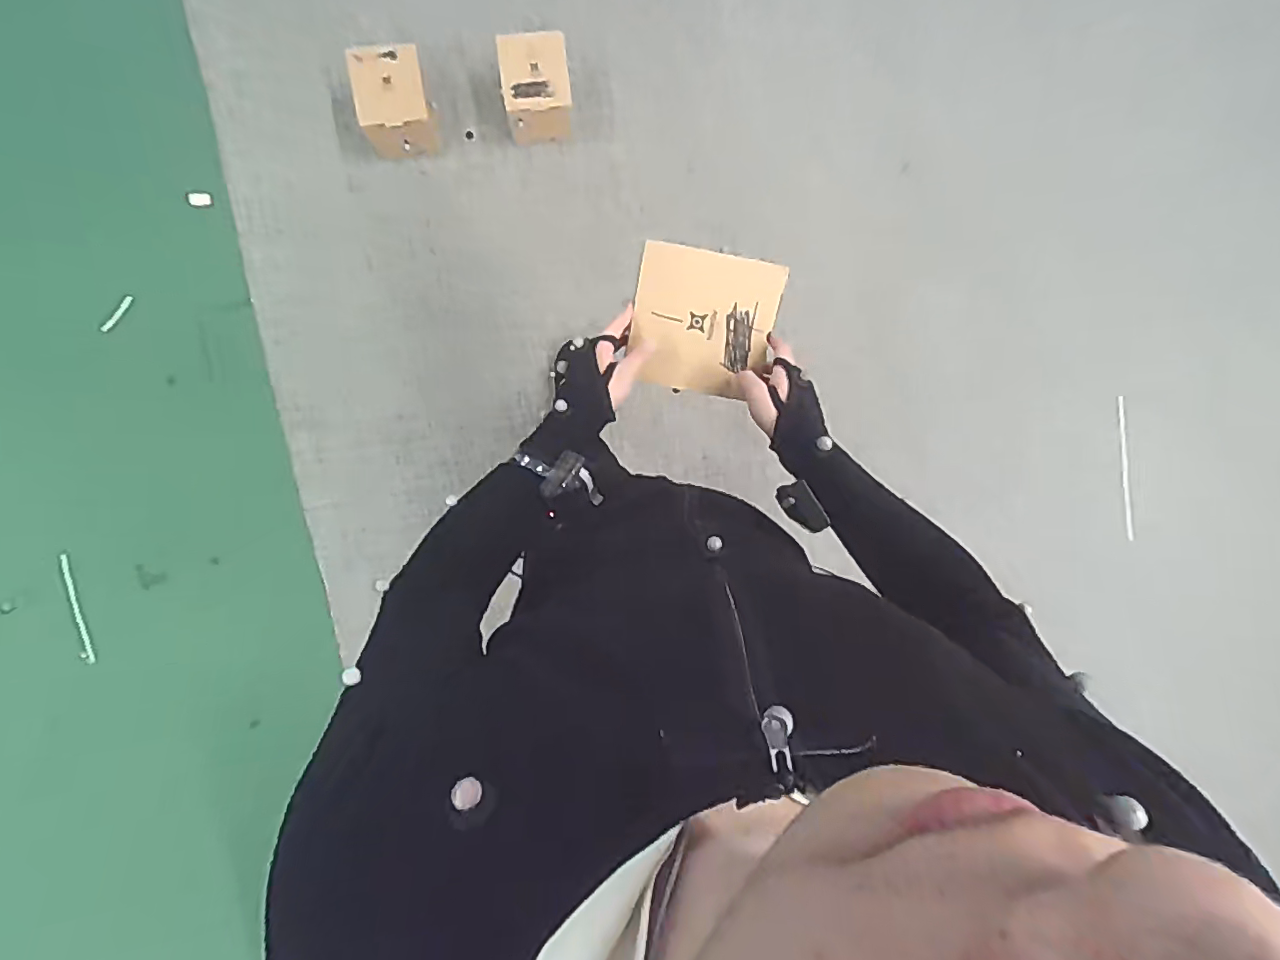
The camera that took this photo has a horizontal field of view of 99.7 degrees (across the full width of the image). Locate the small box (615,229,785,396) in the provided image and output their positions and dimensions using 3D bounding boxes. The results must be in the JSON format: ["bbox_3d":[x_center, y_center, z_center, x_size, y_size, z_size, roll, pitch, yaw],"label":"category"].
[{"bbox_3d":[0.068,-0.220,0.716,0.179,0.176,0.168,10,108,-4],"label":"small box"}]

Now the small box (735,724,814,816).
[{"bbox_3d":[0.404,0.871,1.643,0.179,0.176,0.168,-11,97,-4],"label":"small box"}]

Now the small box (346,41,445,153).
[{"bbox_3d":[-0.603,-0.948,1.357,0.168,0.176,0.179,-8,97,-4],"label":"small box"}]
